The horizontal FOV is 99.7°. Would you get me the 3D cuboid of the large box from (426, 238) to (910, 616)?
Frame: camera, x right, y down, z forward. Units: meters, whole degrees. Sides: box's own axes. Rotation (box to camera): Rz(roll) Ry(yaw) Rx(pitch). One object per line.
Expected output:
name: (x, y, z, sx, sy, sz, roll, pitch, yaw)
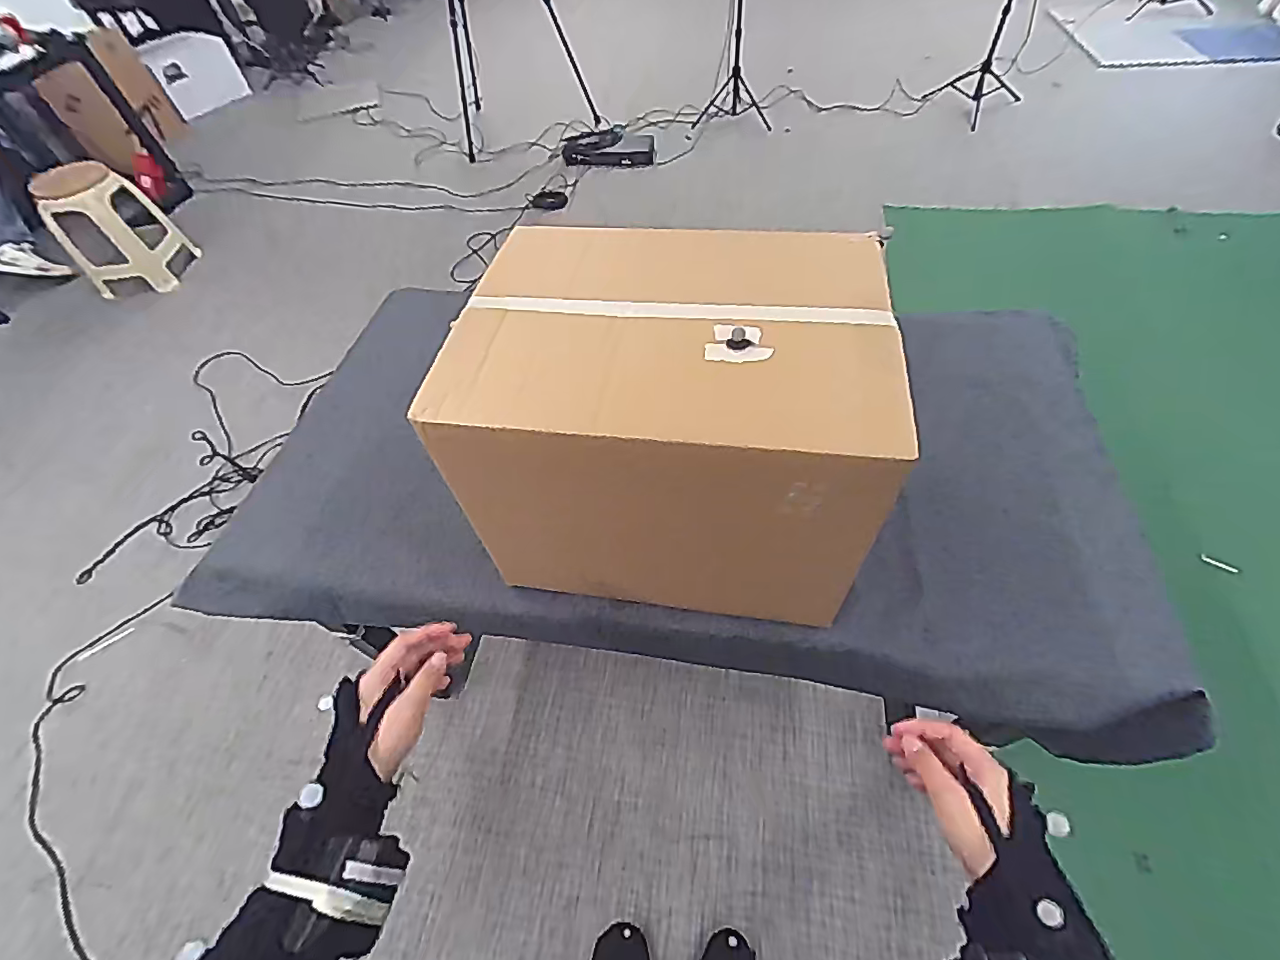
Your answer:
large box: (0.039, -0.061, 0.640, 0.408, 0.320, 0.320, 5, 53, 8)
